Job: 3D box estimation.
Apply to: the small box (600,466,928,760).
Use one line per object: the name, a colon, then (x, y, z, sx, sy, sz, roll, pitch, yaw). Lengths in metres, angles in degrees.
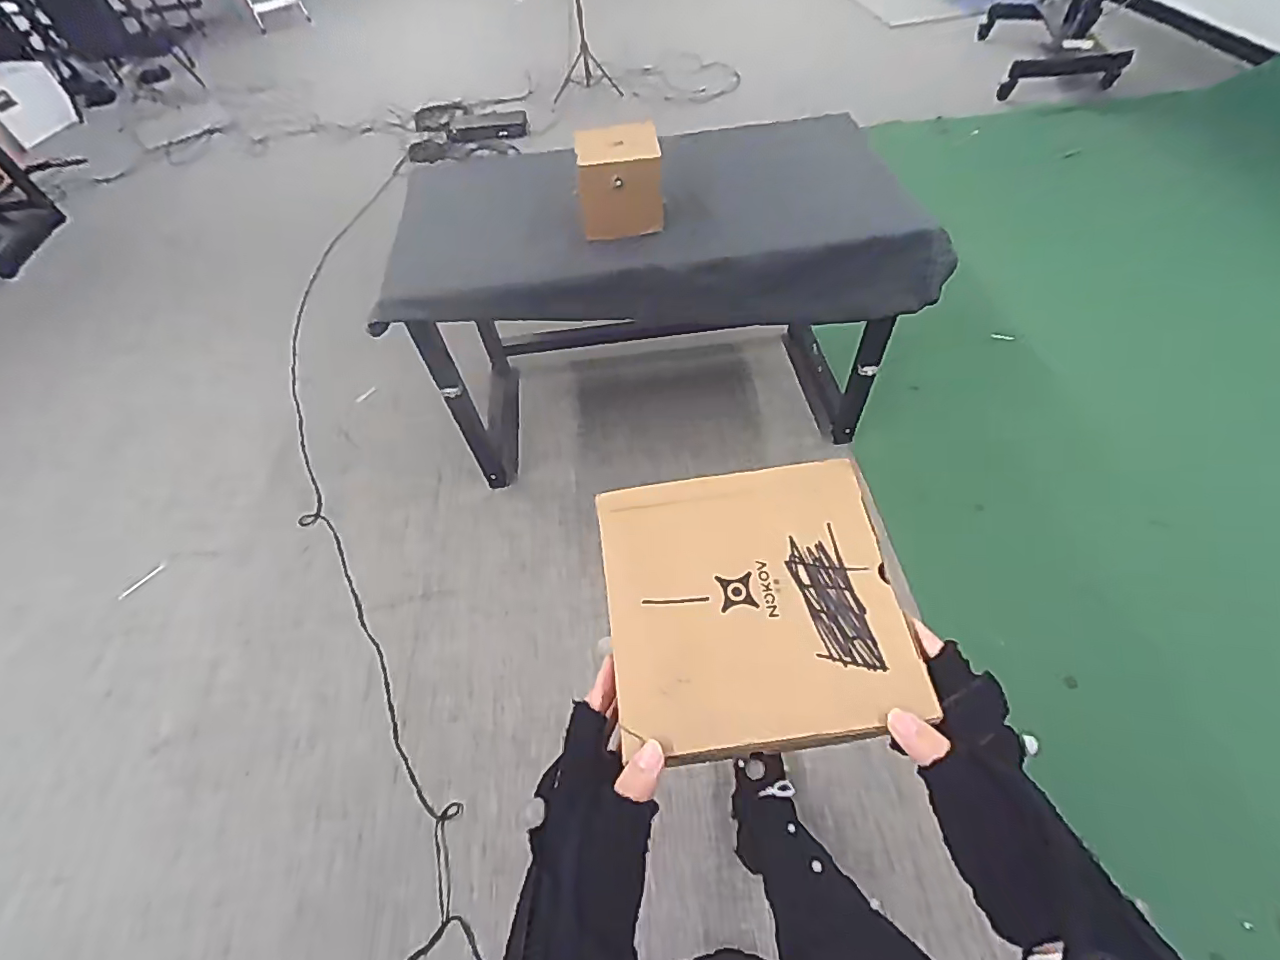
small box: (0.069, 0.108, 0.403, 0.179, 0.176, 0.168, -7, 61, -1)

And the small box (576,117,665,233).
small box: (-0.042, -0.665, 1.191, 0.179, 0.176, 0.168, -6, 56, -1)
